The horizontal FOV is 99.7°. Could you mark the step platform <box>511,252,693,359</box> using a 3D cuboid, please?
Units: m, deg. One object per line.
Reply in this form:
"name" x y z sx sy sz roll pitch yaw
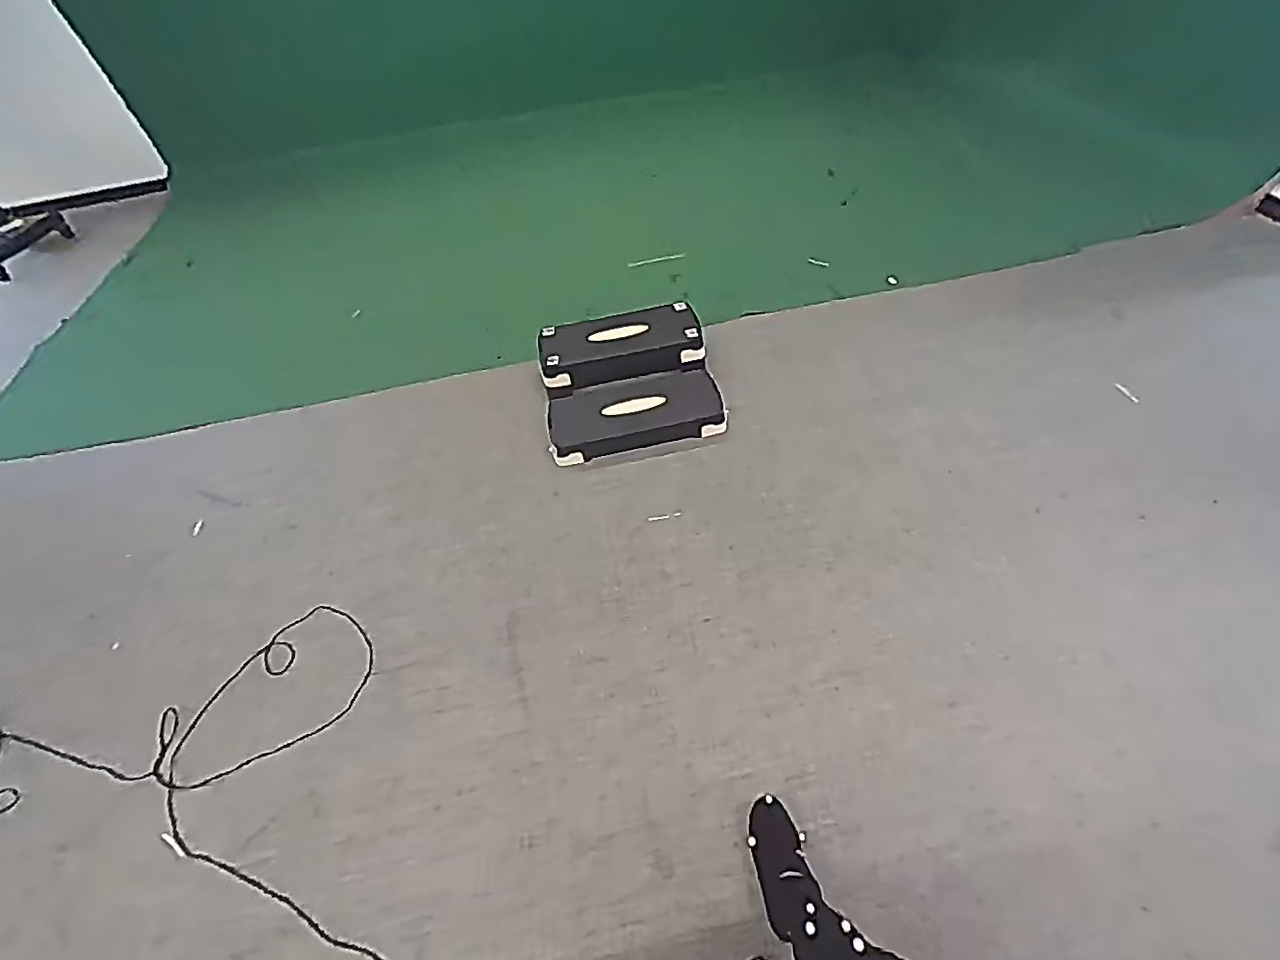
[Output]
"step platform" -0.142 -0.684 2.119 0.684 0.204 0.286 -12 51 -2
